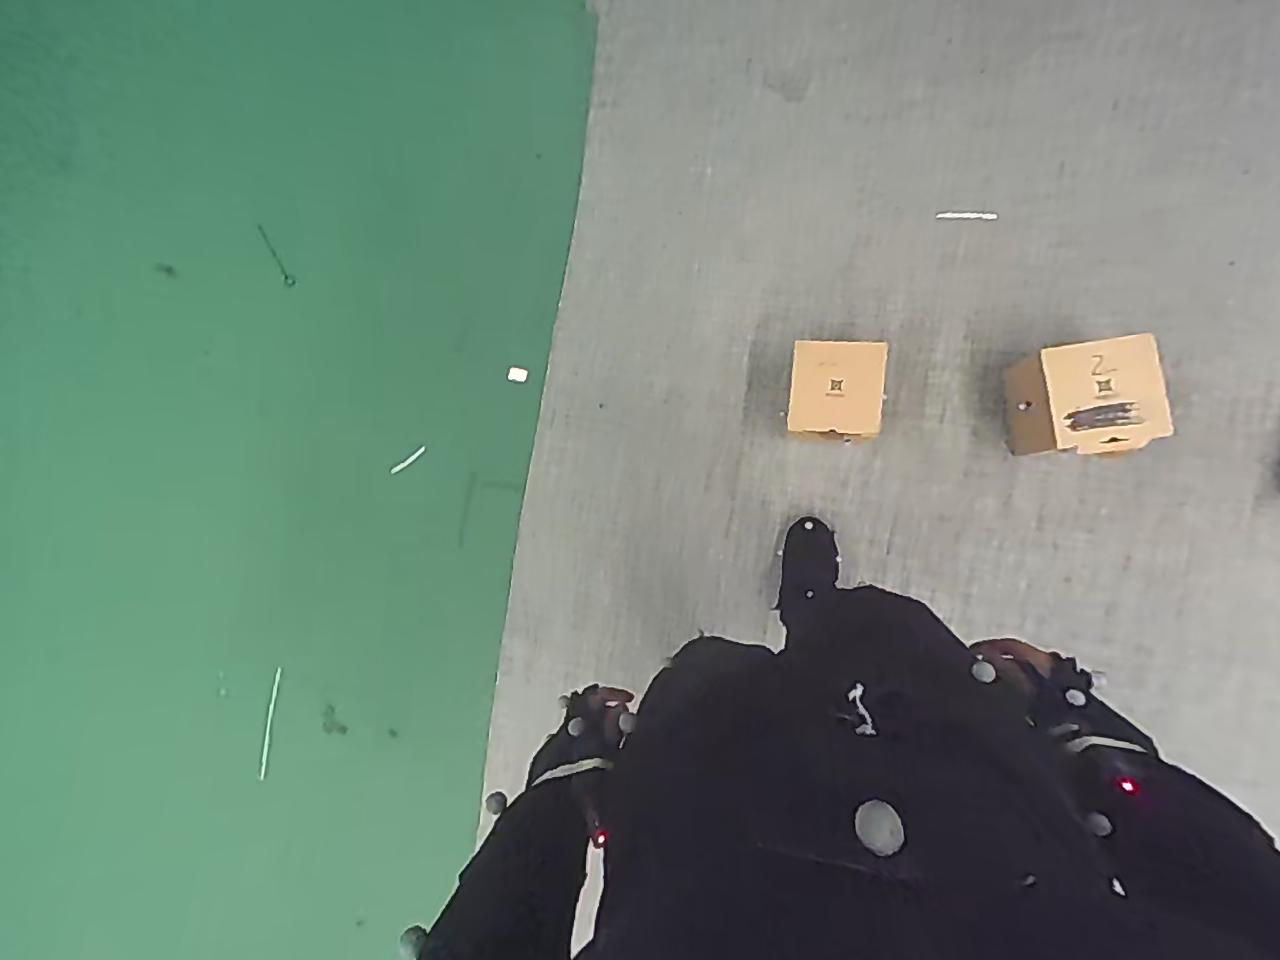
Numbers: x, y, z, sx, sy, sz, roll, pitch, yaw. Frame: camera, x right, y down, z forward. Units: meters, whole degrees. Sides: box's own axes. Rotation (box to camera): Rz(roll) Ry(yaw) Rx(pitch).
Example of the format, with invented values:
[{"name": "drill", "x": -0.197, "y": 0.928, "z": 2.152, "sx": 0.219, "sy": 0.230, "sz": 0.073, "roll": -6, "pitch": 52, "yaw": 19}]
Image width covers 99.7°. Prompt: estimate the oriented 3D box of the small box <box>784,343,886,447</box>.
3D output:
[{"name": "small box", "x": 0.381, "y": -0.162, "z": 1.080, "sx": 0.168, "sy": 0.176, "sz": 0.179, "roll": 5, "pitch": 88, "yaw": 13}]
